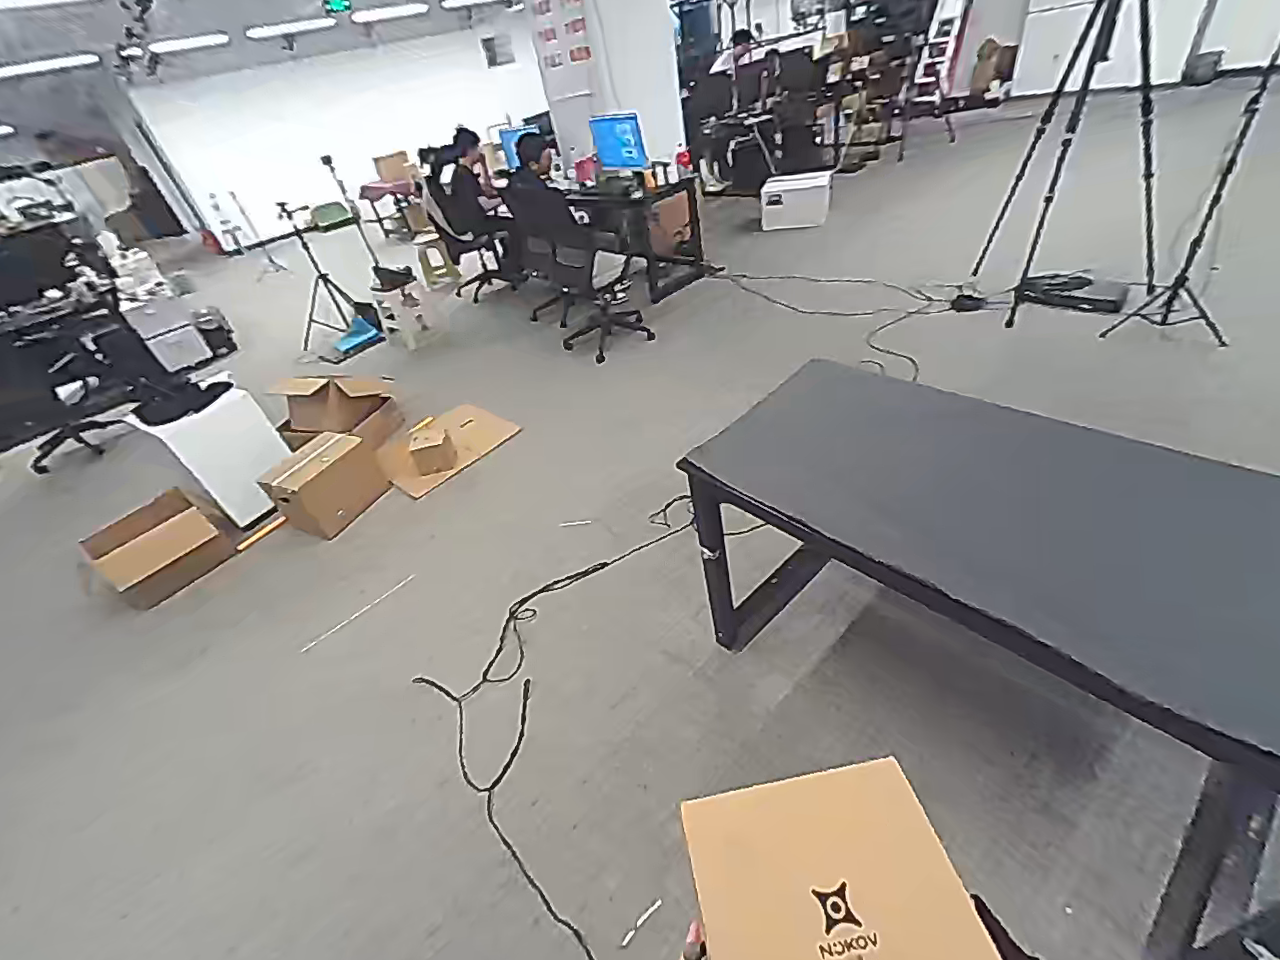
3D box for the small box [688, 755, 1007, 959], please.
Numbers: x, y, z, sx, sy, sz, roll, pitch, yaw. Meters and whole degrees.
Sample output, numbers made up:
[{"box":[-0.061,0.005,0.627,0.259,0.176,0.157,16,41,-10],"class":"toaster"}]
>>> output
[{"box":[0.133,0.332,0.379,0.168,0.176,0.179,-11,38,-3],"class":"small box"}]
